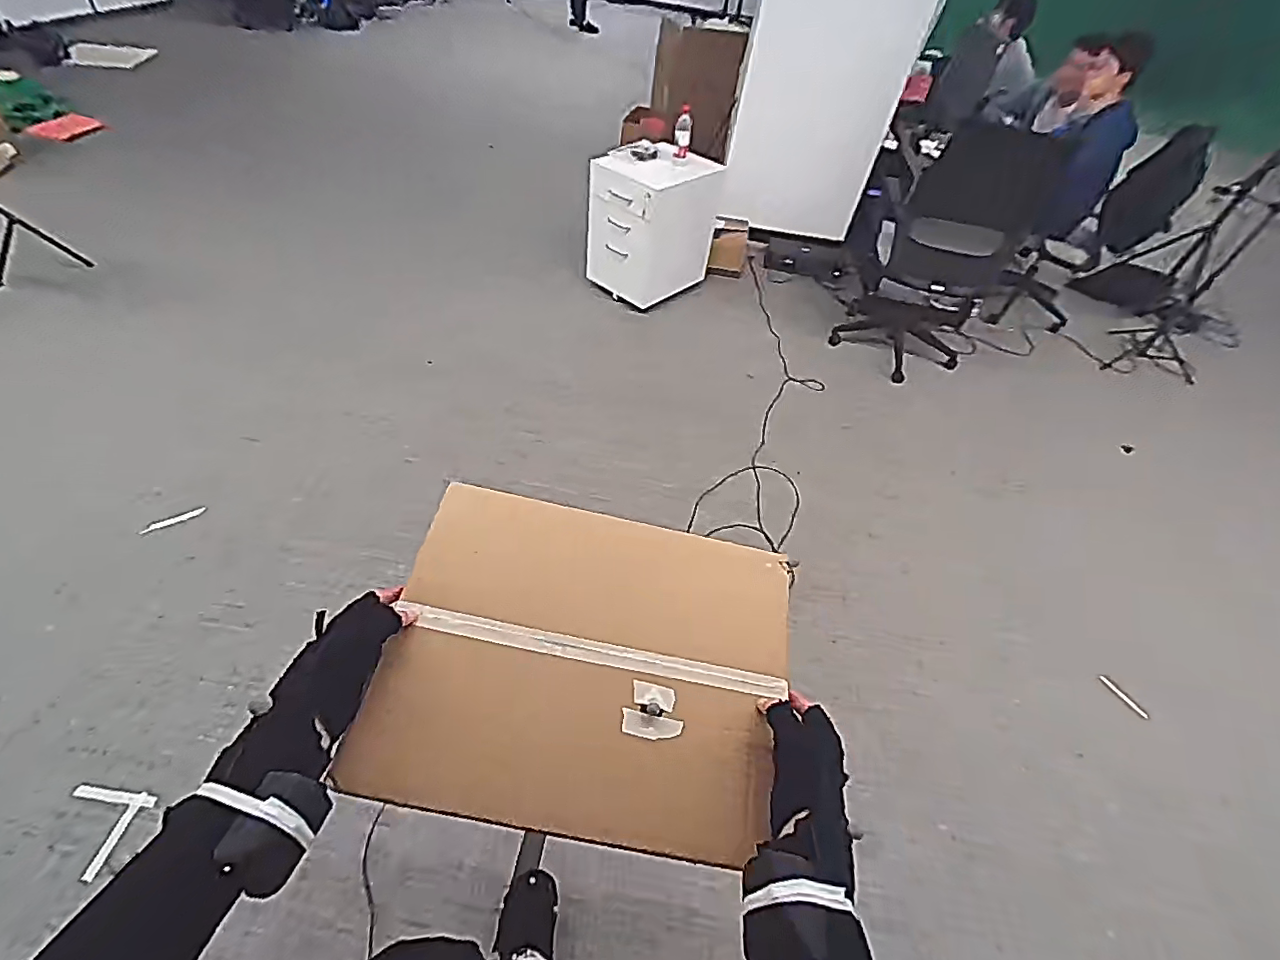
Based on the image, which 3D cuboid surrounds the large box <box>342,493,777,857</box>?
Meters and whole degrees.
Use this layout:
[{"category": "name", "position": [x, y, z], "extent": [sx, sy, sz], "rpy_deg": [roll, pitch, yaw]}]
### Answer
[{"category": "large box", "position": [-0.074, 0.257, 0.687], "extent": [0.408, 0.320, 0.320], "rpy_deg": [13, 57, -3]}]
